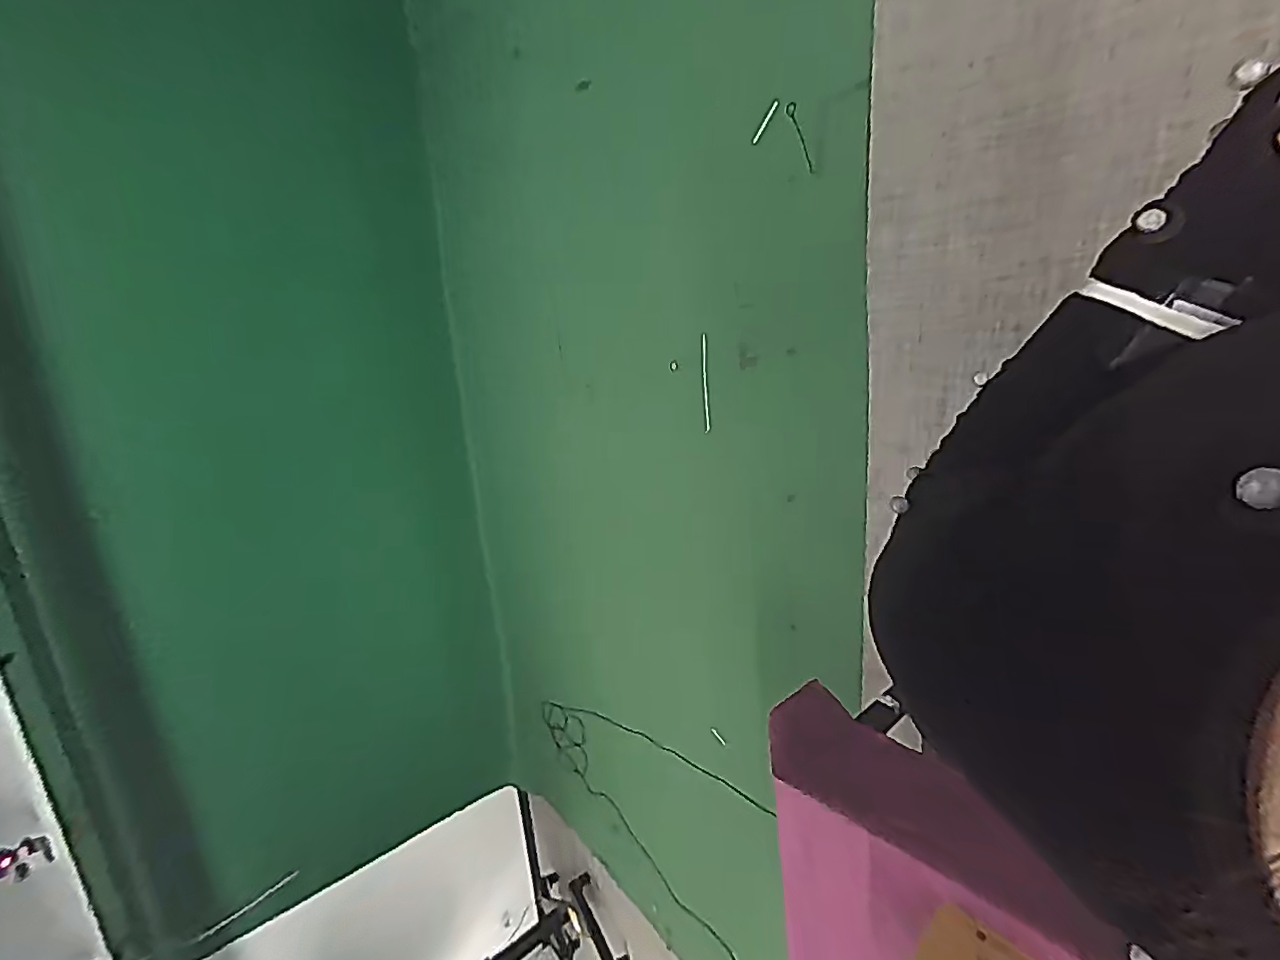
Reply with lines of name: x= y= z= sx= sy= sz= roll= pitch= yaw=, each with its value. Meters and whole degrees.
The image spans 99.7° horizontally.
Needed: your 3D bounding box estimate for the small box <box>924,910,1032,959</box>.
small box: x=0.510 y=0.798 z=0.790 sx=0.168 sy=0.176 sz=0.179 roll=9 pitch=109 yaw=51
